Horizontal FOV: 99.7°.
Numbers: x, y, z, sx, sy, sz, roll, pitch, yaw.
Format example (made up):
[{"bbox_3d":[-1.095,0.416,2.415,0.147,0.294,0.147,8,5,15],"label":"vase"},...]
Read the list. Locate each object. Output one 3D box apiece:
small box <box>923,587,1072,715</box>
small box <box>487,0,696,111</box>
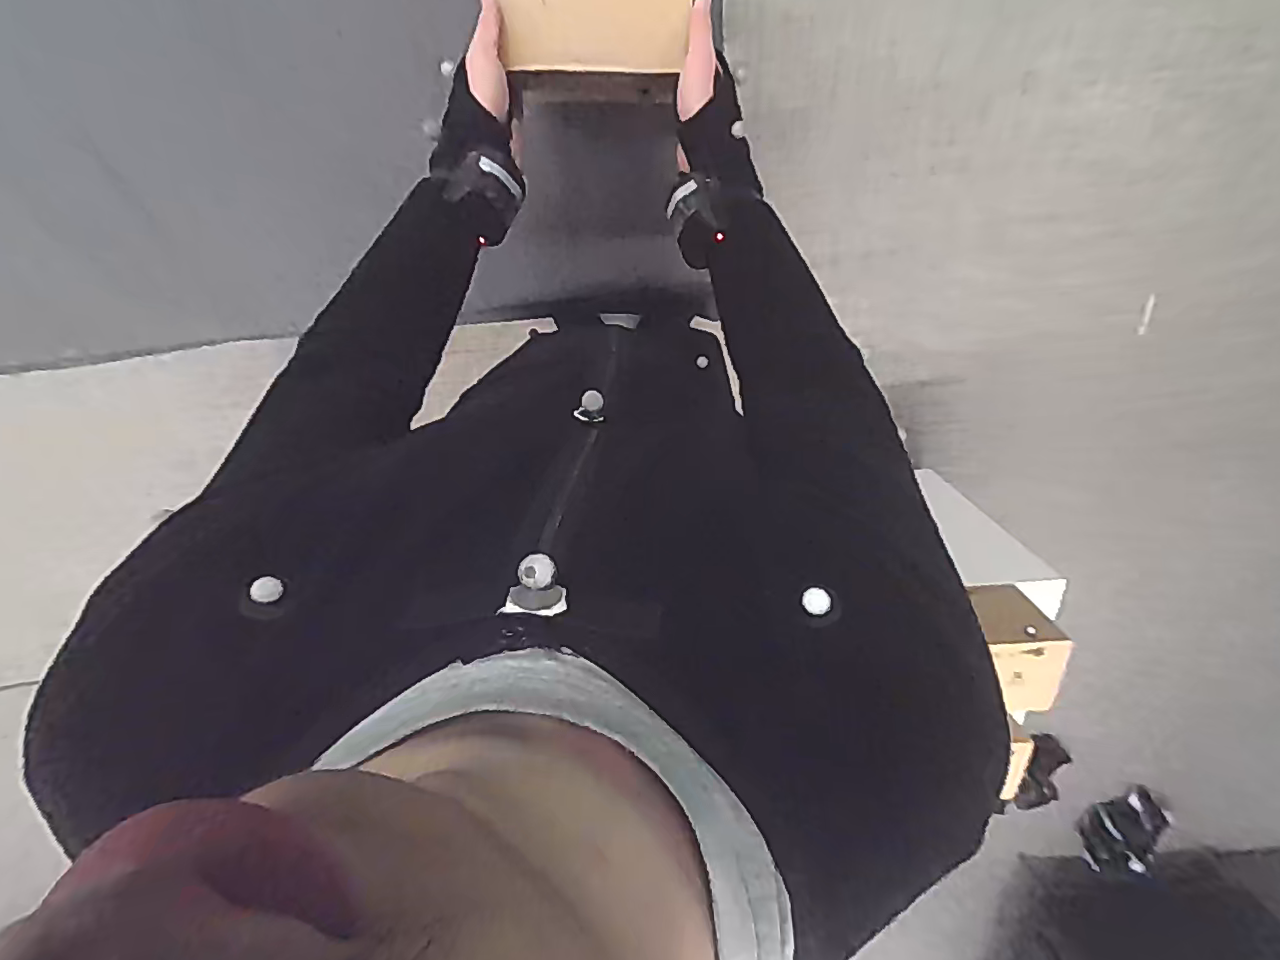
[{"bbox_3d":[0.687,0.334,1.066,0.168,0.176,0.179,-4,117,1],"label":"small box"},{"bbox_3d":[-0.037,-0.459,0.506,0.179,0.176,0.168,2,116,3],"label":"small box"}]
